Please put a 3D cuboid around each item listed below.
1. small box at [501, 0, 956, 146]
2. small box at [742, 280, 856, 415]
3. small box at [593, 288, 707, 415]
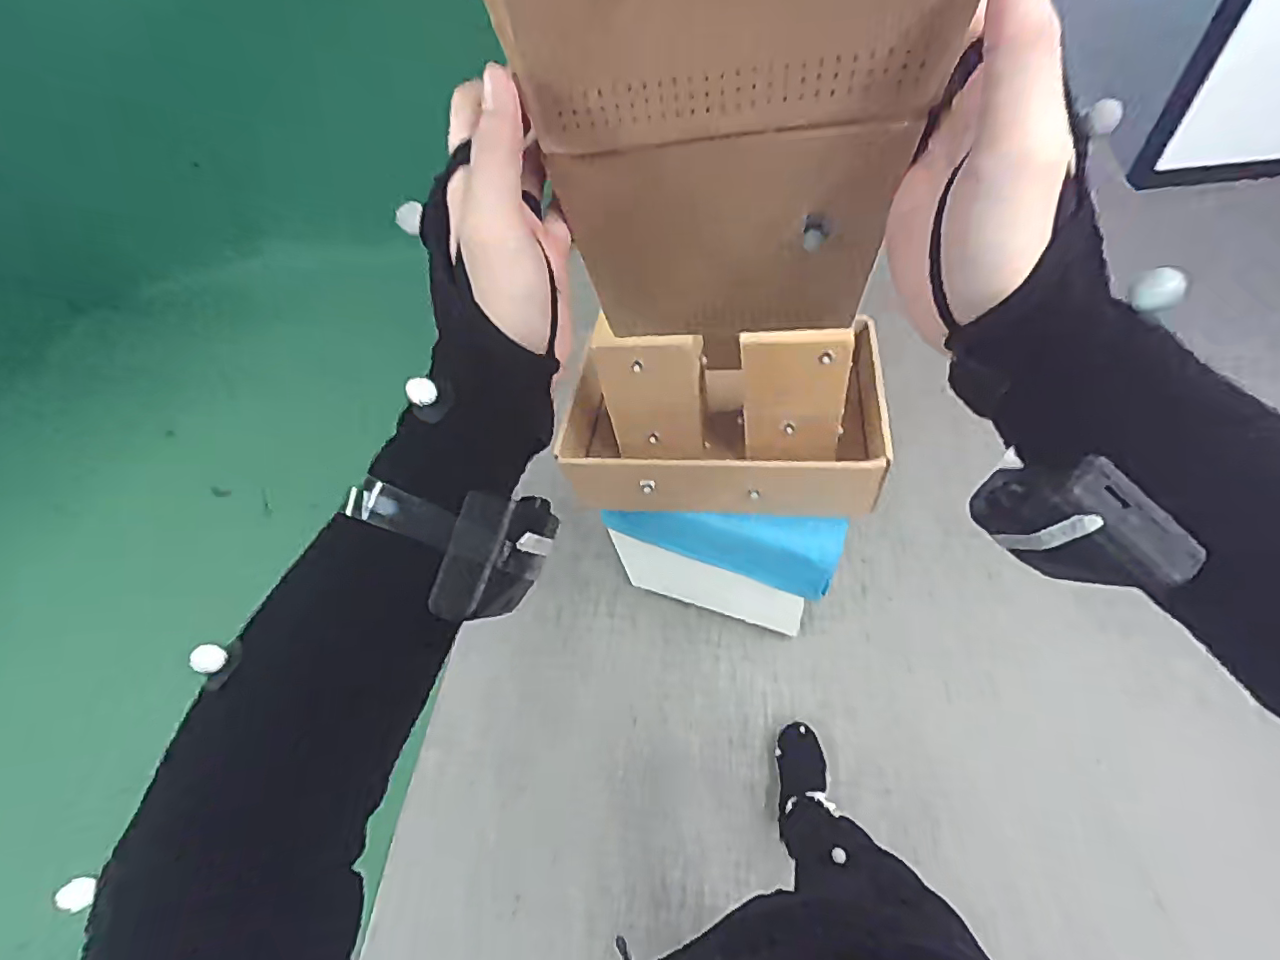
[{"bbox_3d":[0.030,-0.254,0.192,0.179,0.176,0.168,-2,74,10],"label":"small box"},{"bbox_3d":[0.276,-0.228,0.953,0.179,0.176,0.168,2,55,14],"label":"small box"},{"bbox_3d":[0.028,-0.234,1.006,0.179,0.176,0.168,2,55,12],"label":"small box"}]
